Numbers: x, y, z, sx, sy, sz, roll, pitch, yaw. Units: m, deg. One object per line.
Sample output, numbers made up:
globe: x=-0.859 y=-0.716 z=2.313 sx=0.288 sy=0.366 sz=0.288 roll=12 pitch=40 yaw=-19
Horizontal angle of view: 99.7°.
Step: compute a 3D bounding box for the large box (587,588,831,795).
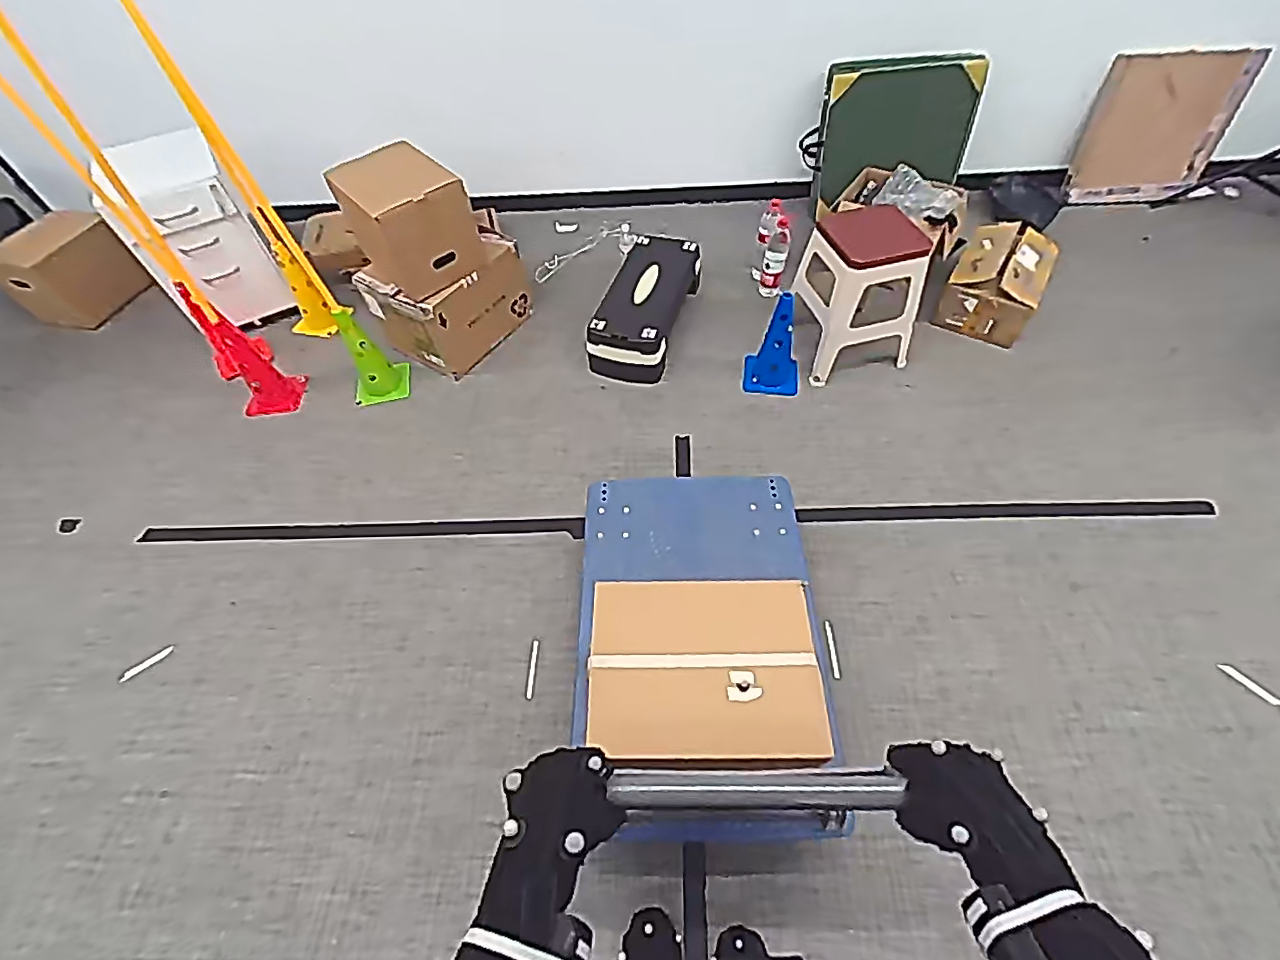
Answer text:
large box: x=0.111 y=0.426 z=1.074 sx=0.408 sy=0.320 sz=0.320 roll=-1 pitch=54 yaw=1
